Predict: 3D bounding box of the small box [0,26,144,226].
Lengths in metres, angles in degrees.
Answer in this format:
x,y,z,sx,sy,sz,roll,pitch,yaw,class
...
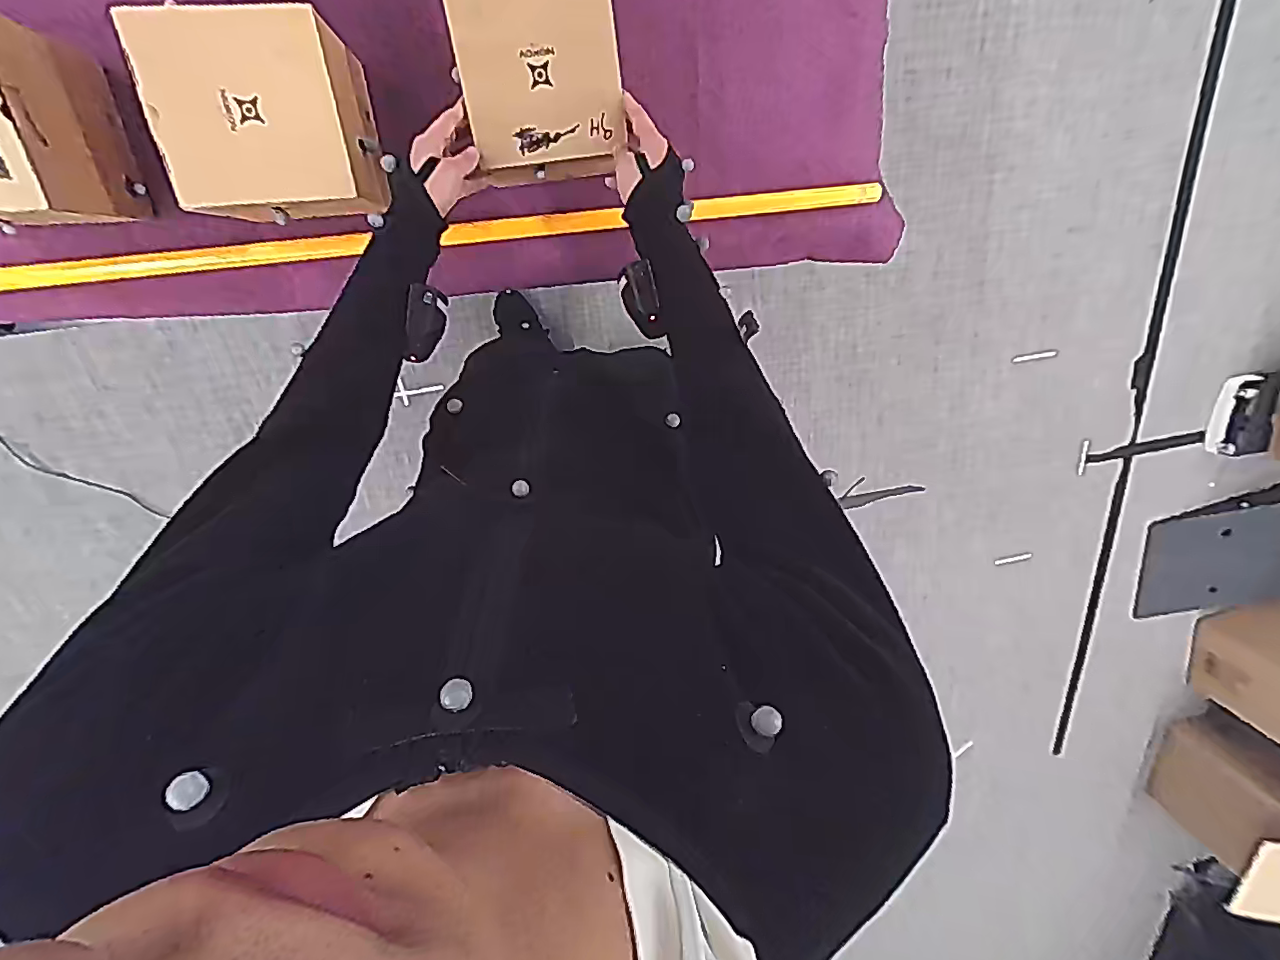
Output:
x,y,z,sx,sy,sz,roll,pitch,yaw,class
-0.674,-0.359,0.559,0.179,0.176,0.168,-6,113,-8,small box

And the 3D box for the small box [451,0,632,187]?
x,y,z,sx,sy,sz,roll,pitch,yaw,class
-0.111,-0.455,0.623,0.168,0.176,0.179,-10,113,-6,small box

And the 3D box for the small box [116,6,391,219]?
x,y,z,sx,sy,sz,roll,pitch,yaw,class
-0.396,-0.390,0.601,0.179,0.176,0.168,-8,113,-6,small box
